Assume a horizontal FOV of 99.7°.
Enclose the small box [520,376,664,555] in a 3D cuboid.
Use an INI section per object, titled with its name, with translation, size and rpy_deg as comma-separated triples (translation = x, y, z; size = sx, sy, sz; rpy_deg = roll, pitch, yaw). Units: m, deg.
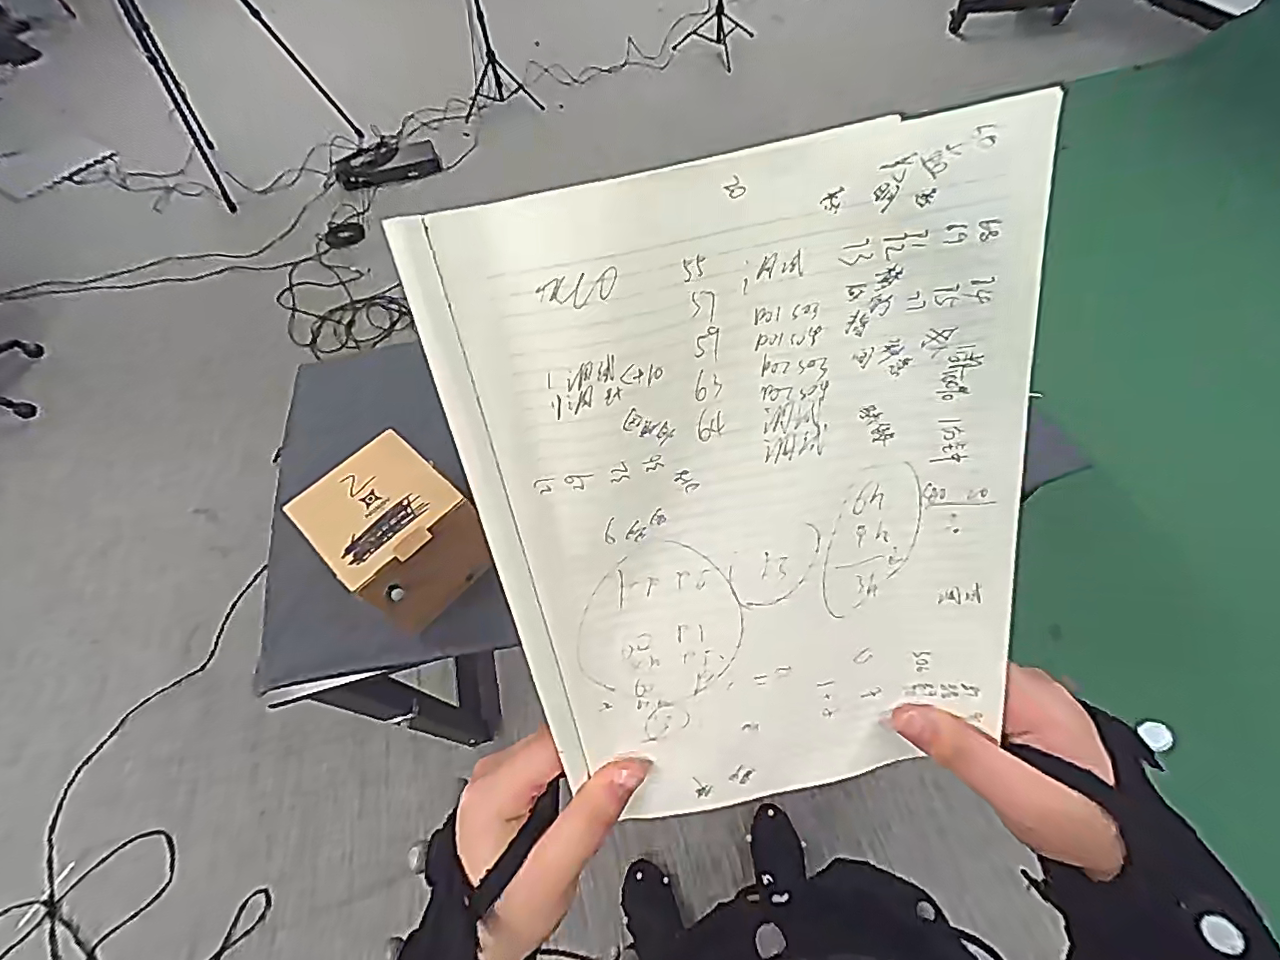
[small box]
translation = -0.065, -0.016, 0.776
size = 0.168, 0.176, 0.179
rpy_deg = -13, 57, -1
